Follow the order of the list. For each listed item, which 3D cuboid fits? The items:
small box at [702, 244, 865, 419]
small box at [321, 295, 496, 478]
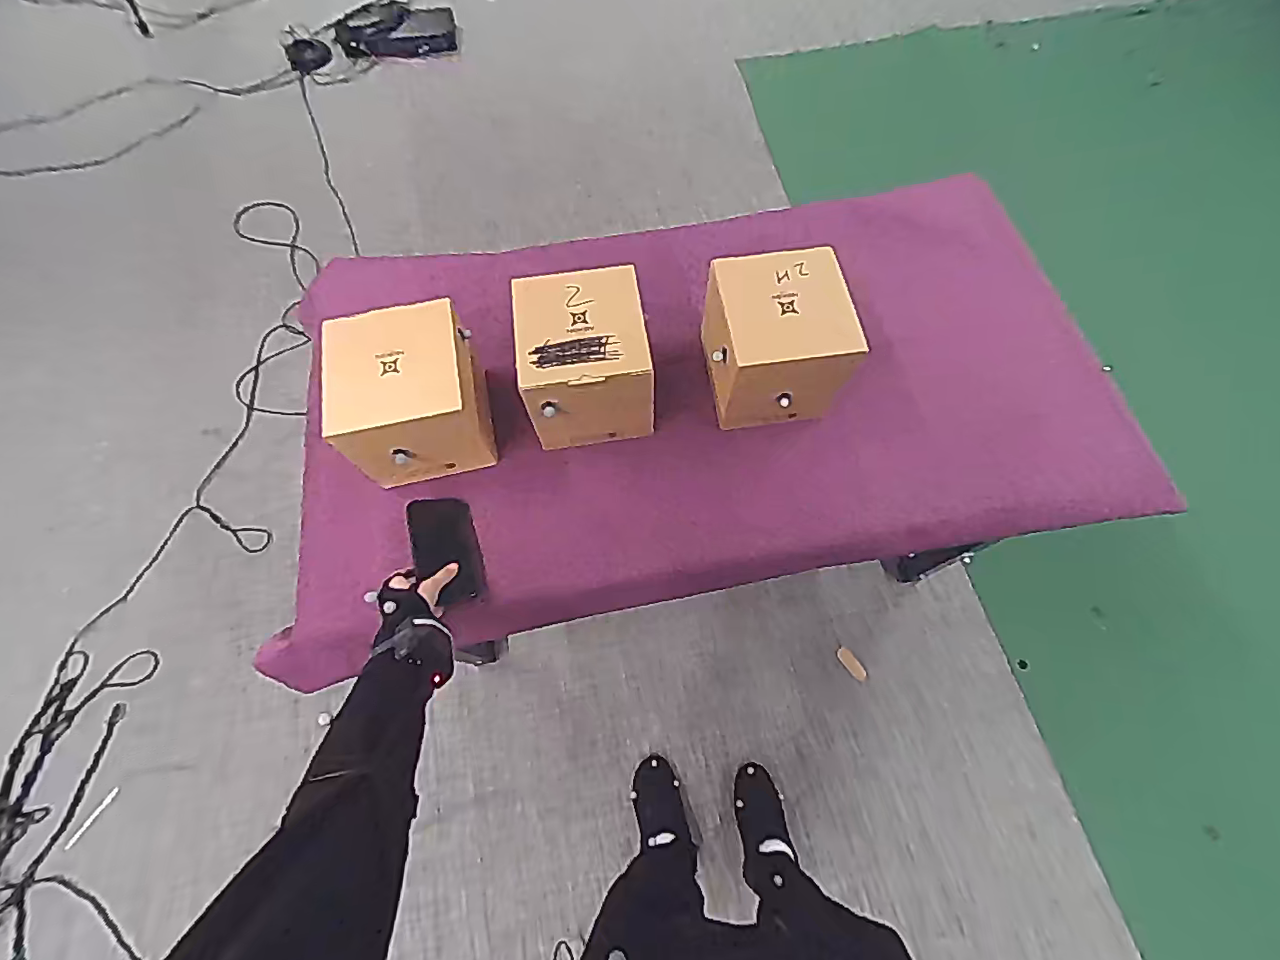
[{"bbox_3d":[0.187,-0.197,0.763,0.168,0.176,0.179,-7,67,-3],"label":"small box"},{"bbox_3d":[-0.306,-0.115,0.738,0.168,0.176,0.179,-13,66,-4],"label":"small box"}]
